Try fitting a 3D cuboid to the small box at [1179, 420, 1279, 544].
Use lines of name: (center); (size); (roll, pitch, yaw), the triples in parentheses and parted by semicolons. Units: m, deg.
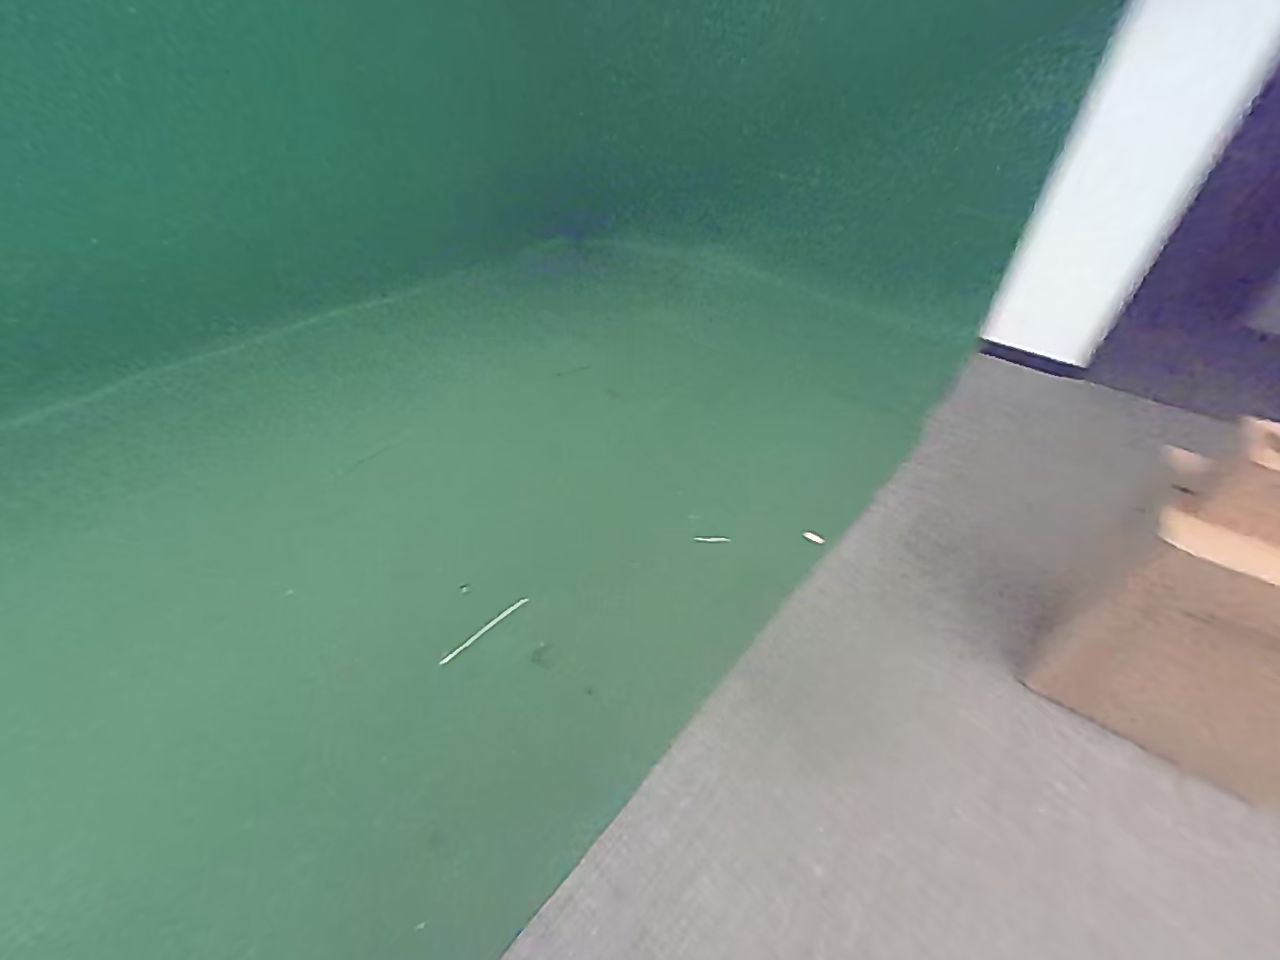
small box: (1.299, 0.006, 1.144); (0.179, 0.176, 0.168); (25, 53, 24)
